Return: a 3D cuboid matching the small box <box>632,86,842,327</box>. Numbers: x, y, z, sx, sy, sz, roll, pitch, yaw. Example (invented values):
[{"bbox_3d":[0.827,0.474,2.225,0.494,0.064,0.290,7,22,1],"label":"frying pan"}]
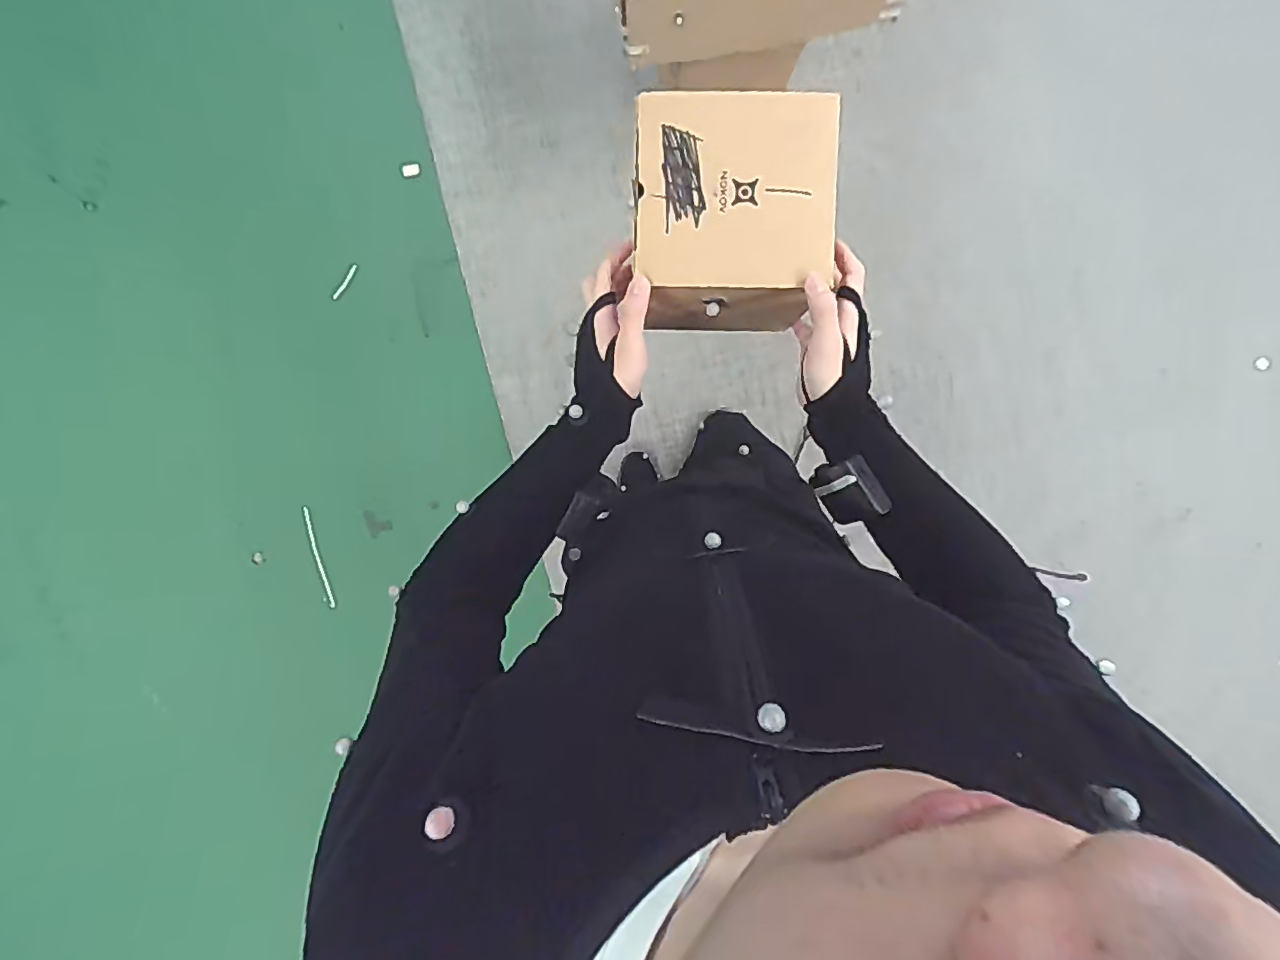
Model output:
[{"bbox_3d":[0.085,-0.256,0.544,0.179,0.176,0.168,2,93,1],"label":"small box"}]
